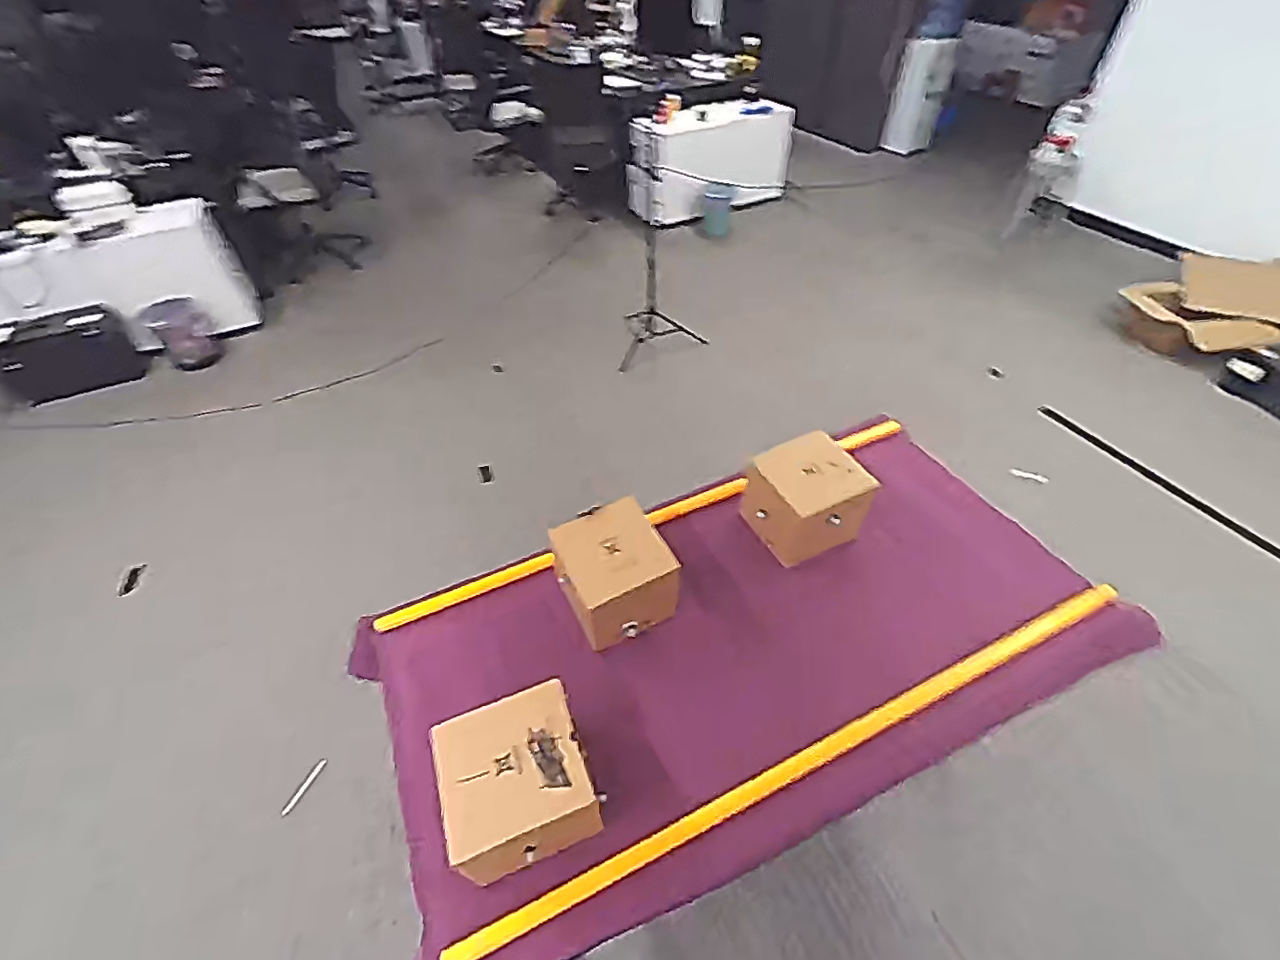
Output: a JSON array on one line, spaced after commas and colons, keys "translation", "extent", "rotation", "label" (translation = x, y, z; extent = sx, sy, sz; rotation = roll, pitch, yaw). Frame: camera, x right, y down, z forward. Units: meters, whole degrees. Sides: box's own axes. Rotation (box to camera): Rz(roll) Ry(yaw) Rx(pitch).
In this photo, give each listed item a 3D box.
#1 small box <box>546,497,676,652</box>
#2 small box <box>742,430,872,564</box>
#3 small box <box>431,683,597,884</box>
[{"translation": [-0.051, 0.167, 0.957], "extent": [0.168, 0.176, 0.179], "rotation": [-23, 51, -17], "label": "small box"}, {"translation": [0.314, 0.037, 1.061], "extent": [0.179, 0.176, 0.168], "rotation": [-21, 51, -16], "label": "small box"}, {"translation": [-0.162, 0.411, 0.732], "extent": [0.179, 0.176, 0.168], "rotation": [-17, 49, -14], "label": "small box"}]
